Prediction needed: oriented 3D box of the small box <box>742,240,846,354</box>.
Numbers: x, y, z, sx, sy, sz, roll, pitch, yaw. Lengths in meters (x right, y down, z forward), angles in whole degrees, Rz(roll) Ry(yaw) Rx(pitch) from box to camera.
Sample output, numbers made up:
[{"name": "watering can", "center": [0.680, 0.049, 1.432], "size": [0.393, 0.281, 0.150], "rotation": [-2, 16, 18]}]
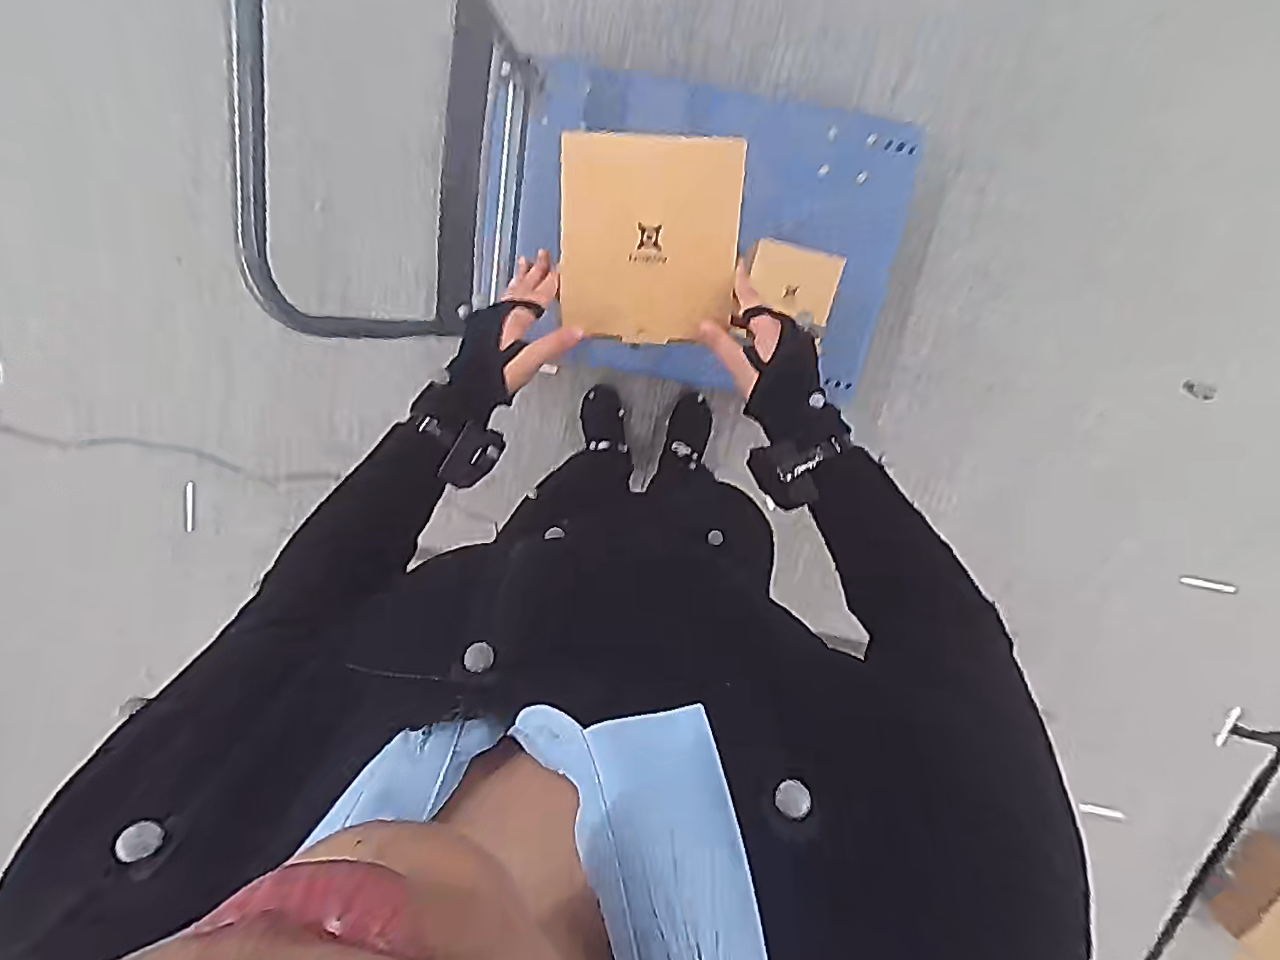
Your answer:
[{"name": "small box", "center": [0.286, -0.362, 1.094], "size": [0.168, 0.176, 0.179], "rotation": [14, 105, -1]}]

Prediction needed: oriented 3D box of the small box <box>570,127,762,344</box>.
[{"name": "small box", "center": [0.021, -0.237, 0.562], "size": [0.168, 0.176, 0.179], "rotation": [3, 107, 1]}]
